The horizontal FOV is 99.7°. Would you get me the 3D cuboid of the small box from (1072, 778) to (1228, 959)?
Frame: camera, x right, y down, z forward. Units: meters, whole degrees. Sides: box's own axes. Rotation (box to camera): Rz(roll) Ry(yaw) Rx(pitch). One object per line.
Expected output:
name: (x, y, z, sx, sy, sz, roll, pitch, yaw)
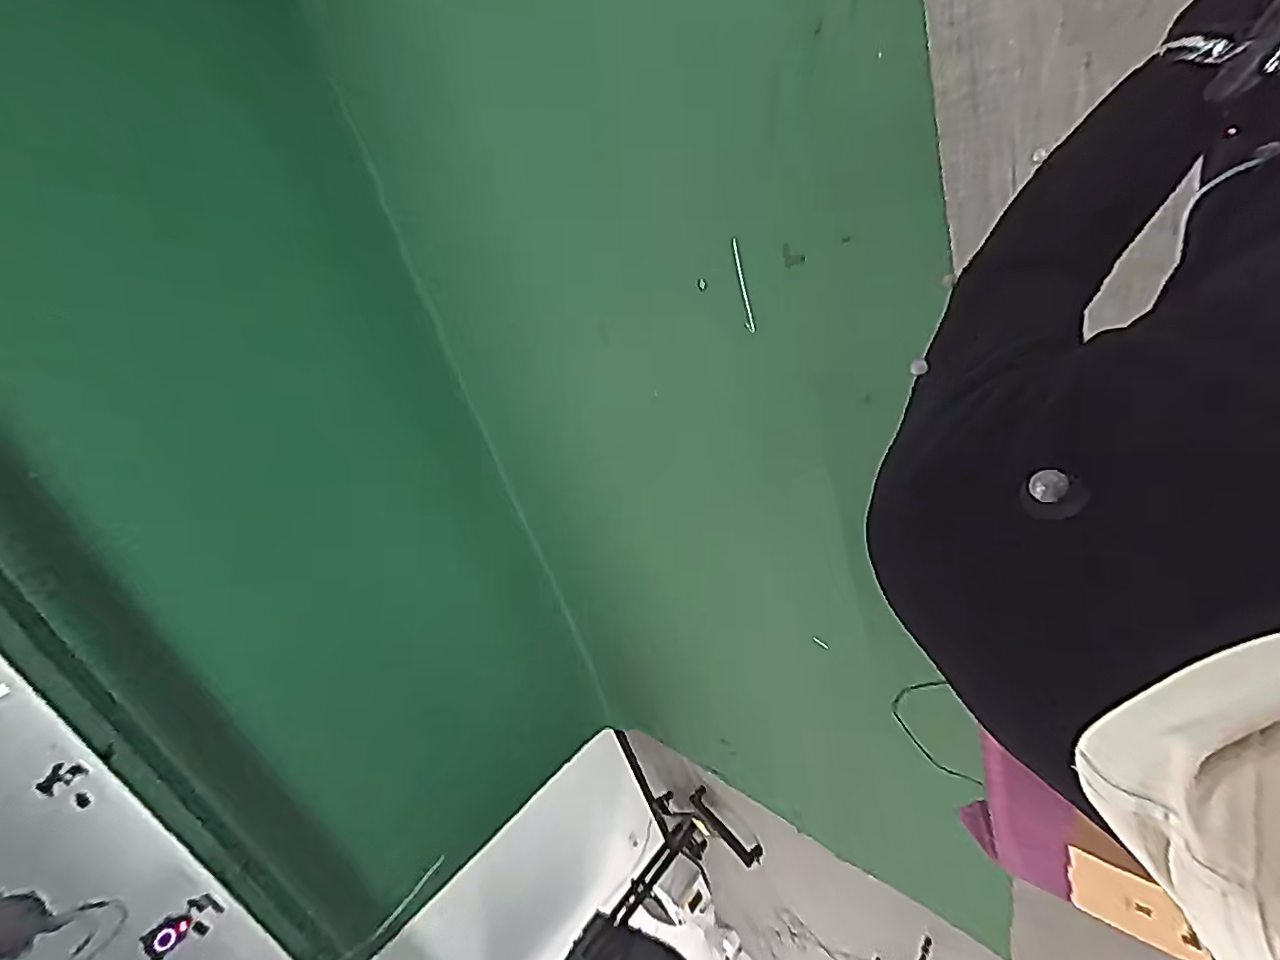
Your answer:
small box: (0.870, 0.654, 0.926, 0.179, 0.176, 0.168, 4, 121, 48)
